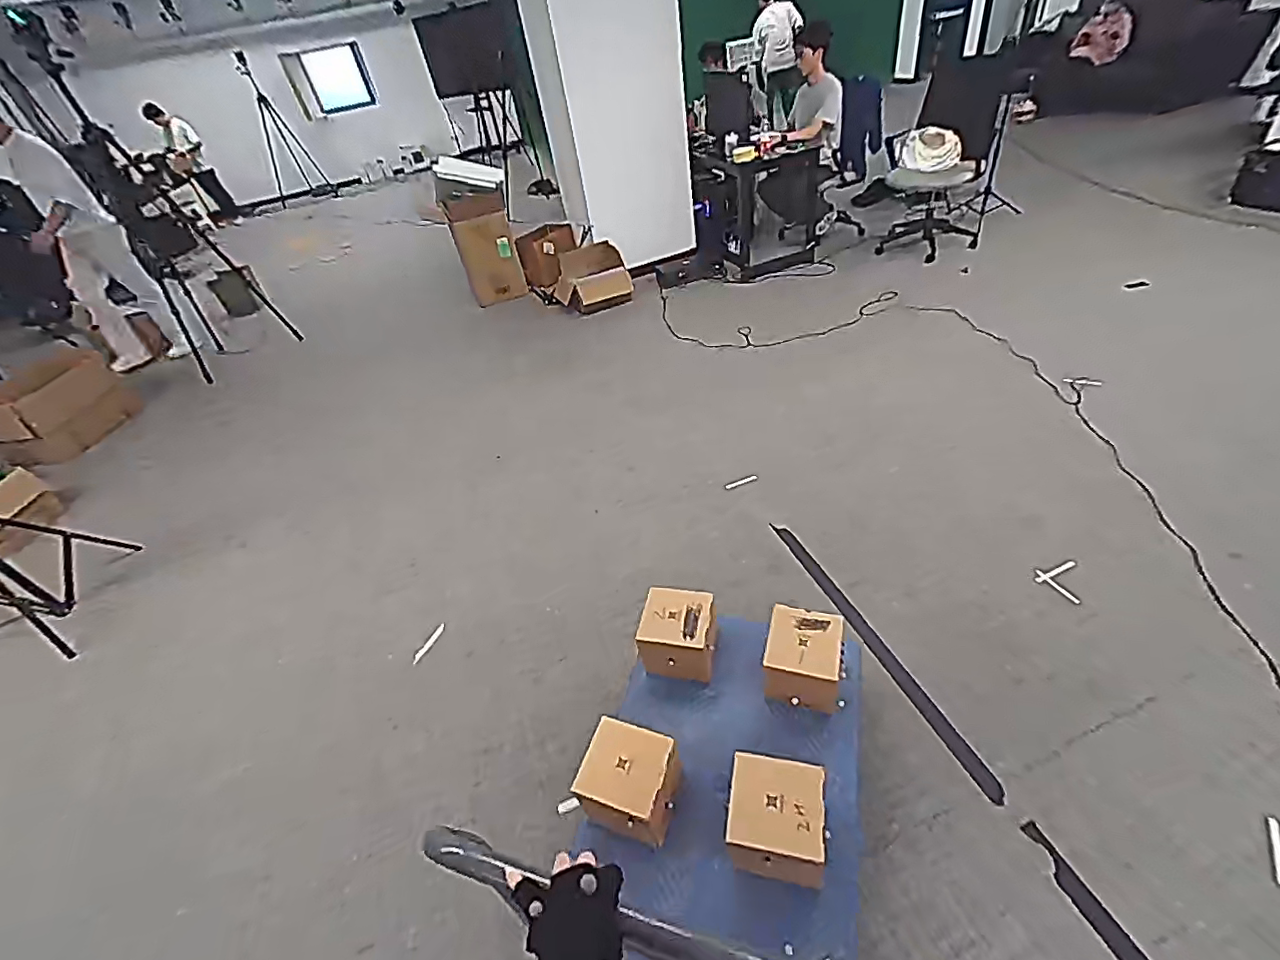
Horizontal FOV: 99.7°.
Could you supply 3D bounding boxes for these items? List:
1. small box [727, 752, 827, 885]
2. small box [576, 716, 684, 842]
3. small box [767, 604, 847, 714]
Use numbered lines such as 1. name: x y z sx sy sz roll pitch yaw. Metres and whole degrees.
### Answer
1. small box: 0.277 0.673 1.076 0.179 0.176 0.168 3 42 17
2. small box: -0.014 0.651 1.178 0.179 0.176 0.168 9 44 21
3. small box: 0.407 0.436 1.321 0.168 0.176 0.179 6 45 21
